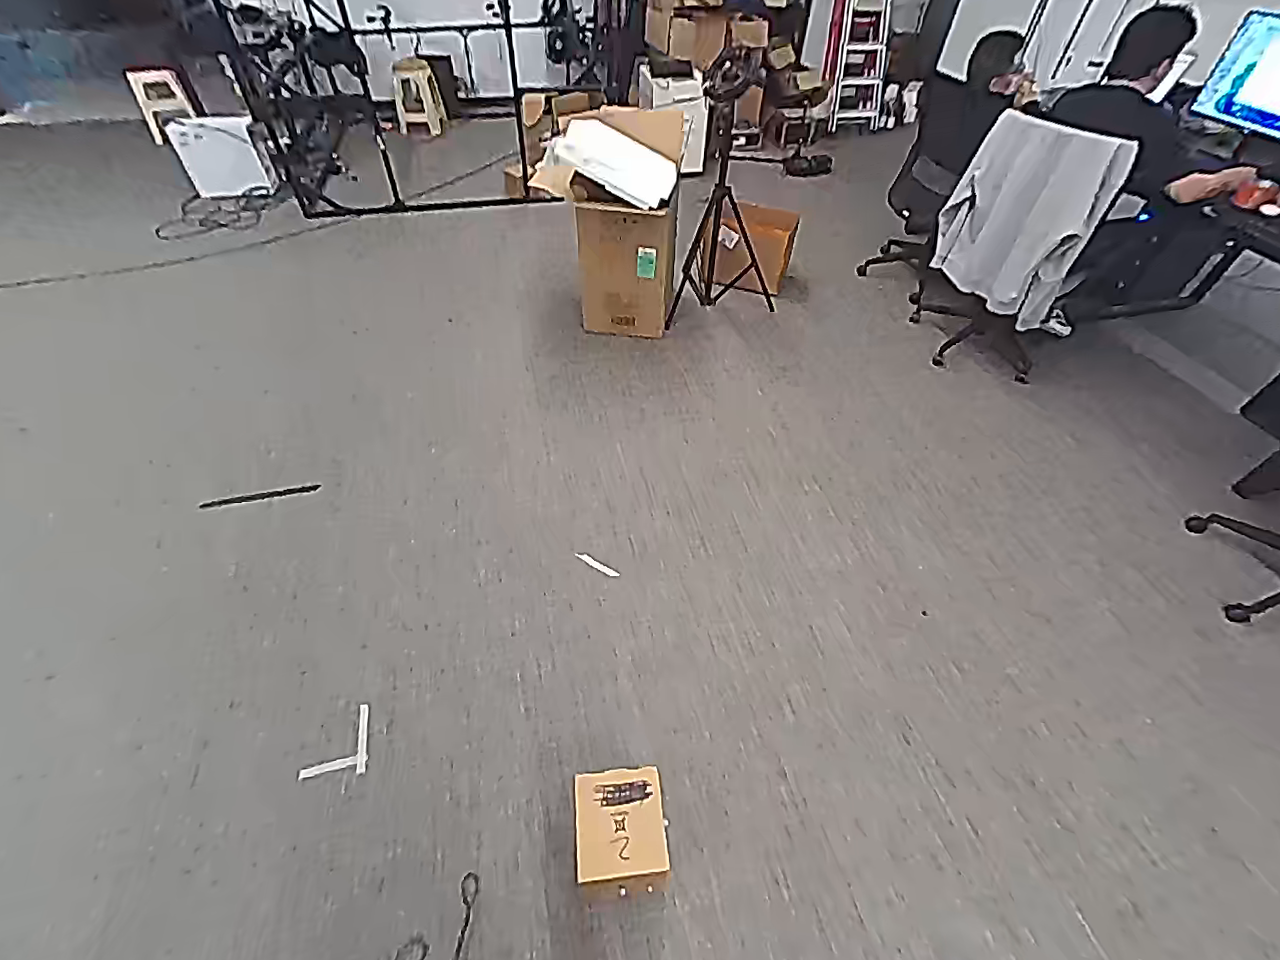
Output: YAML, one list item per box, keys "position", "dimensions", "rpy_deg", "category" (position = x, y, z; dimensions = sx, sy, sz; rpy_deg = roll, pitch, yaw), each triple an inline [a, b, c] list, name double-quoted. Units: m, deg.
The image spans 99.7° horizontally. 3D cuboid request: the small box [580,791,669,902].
- position: [-0.036, 0.806, 1.186]
  dimensions: [0.179, 0.176, 0.168]
  rpy_deg: [-5, 47, -6]
  category: "small box"
